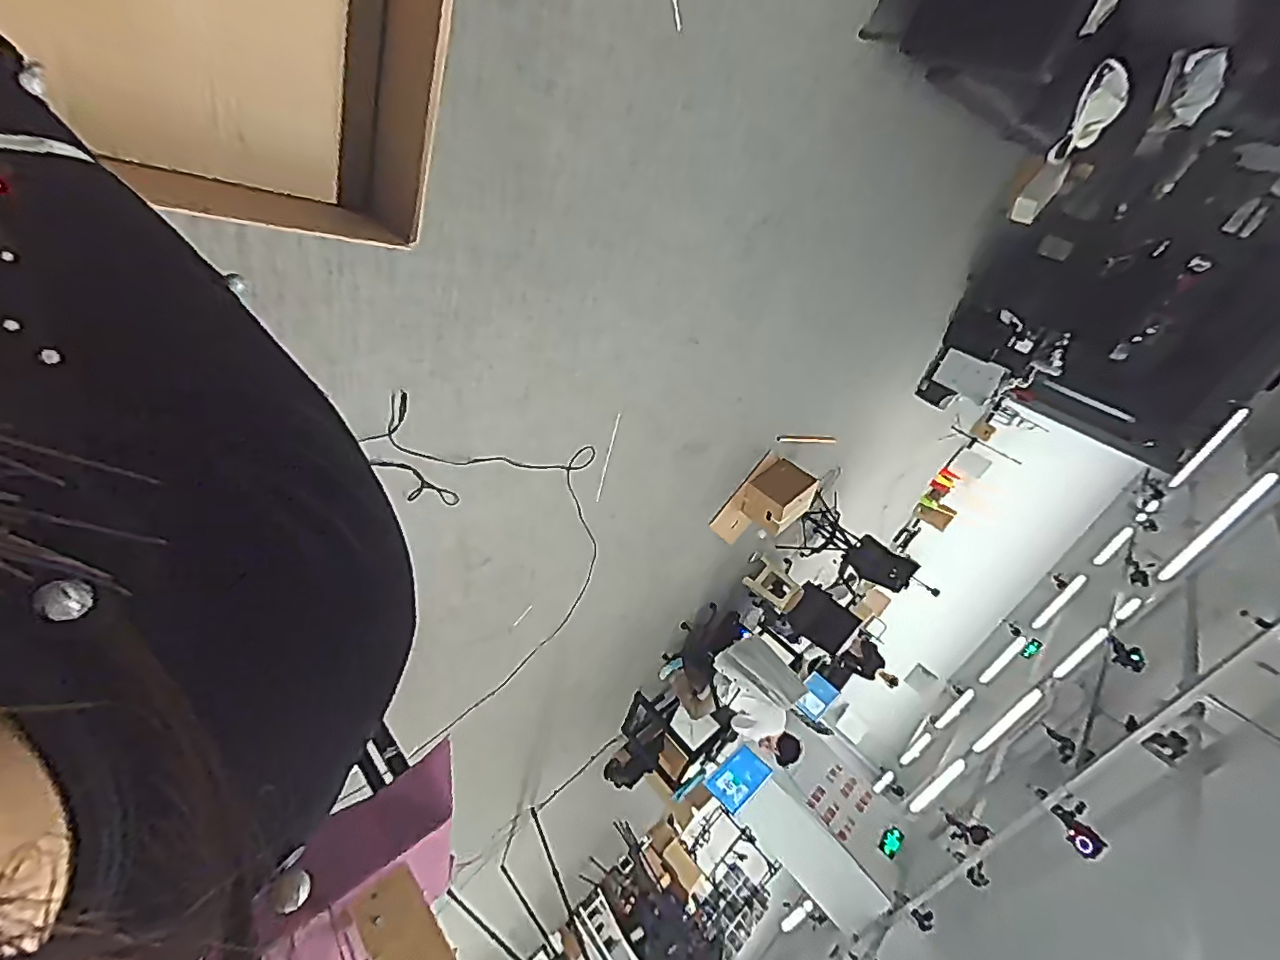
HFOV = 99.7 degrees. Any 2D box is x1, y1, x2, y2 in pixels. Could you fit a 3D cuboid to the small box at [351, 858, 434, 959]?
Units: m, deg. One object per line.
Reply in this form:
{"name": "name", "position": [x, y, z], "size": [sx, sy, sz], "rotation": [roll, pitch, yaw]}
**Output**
{"name": "small box", "position": [-0.706, 1.230, 1.544], "size": [0.168, 0.176, 0.179], "rotation": [-22, 140, -39]}

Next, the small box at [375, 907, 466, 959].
{"name": "small box", "position": [-0.593, 1.318, 1.468], "size": [0.179, 0.176, 0.168], "rotation": [-23, 140, -37]}
